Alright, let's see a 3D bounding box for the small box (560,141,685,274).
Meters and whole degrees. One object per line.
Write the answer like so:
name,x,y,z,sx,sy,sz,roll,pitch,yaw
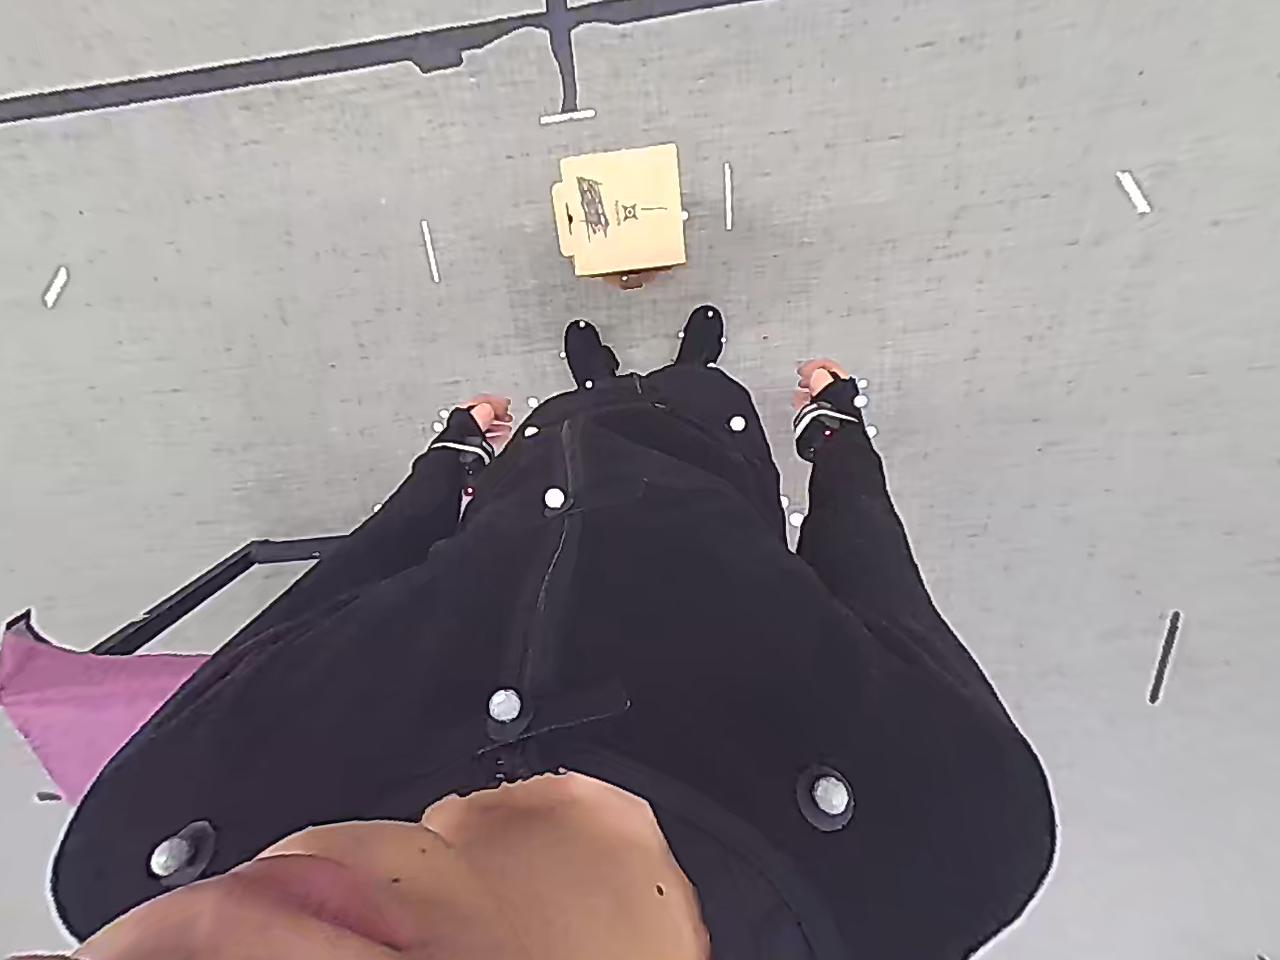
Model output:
small box,-0.022,-0.433,0.886,0.179,0.176,0.168,-6,111,3
